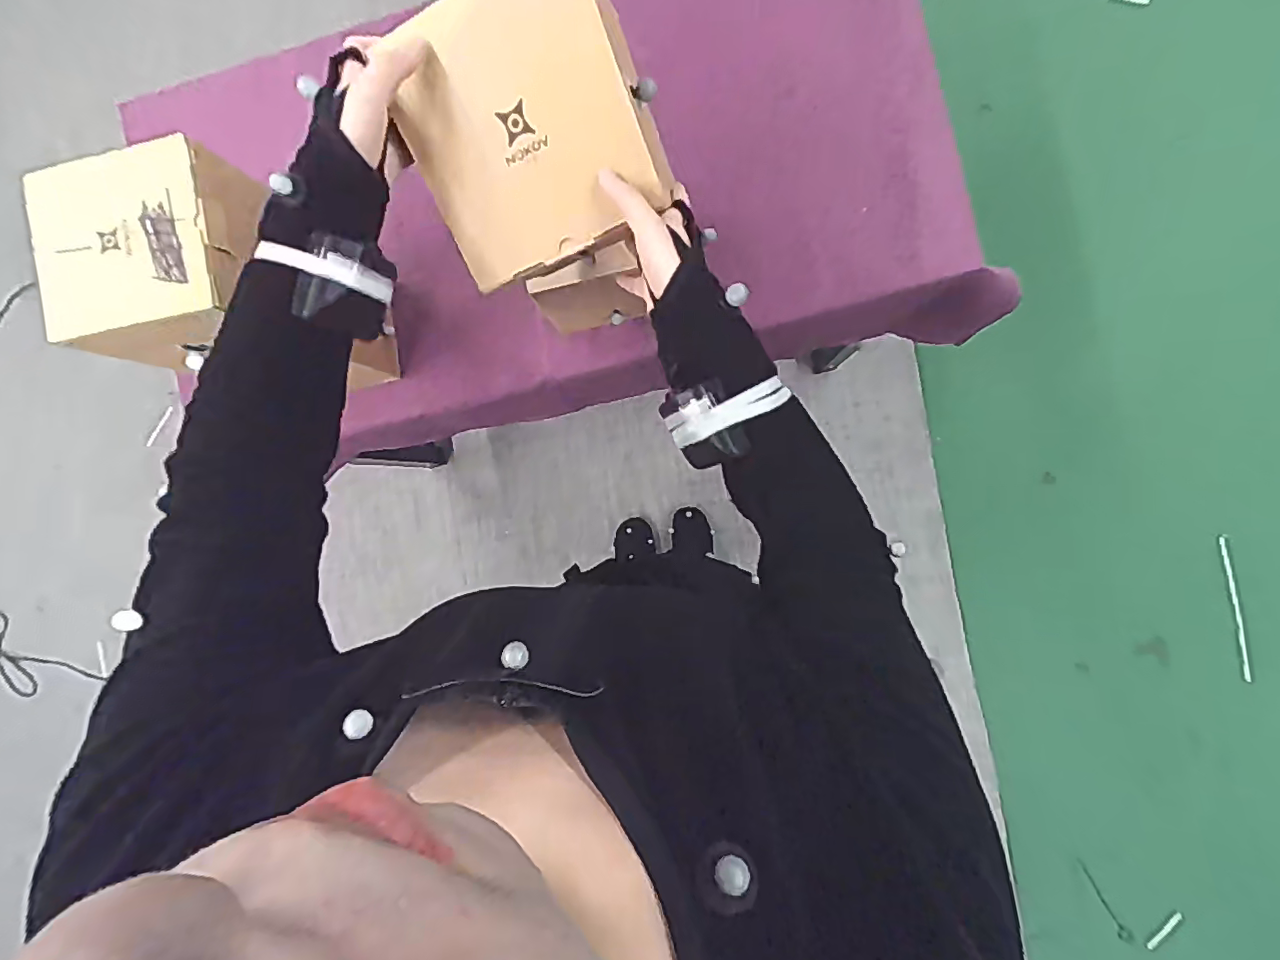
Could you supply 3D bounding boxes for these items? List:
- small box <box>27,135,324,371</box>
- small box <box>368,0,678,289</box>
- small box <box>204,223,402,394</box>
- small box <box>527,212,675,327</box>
[{"bbox_3d":[-0.473,-0.224,0.582,0.179,0.176,0.168,-10,90,6],"label":"small box"},{"bbox_3d":[-0.075,-0.287,0.457,0.168,0.176,0.179,-18,115,17],"label":"small box"},{"bbox_3d":[-0.462,-0.221,0.746,0.179,0.176,0.168,-10,90,5],"label":"small box"},{"bbox_3d":[-0.054,-0.316,0.708,0.179,0.176,0.168,-11,89,5],"label":"small box"}]
